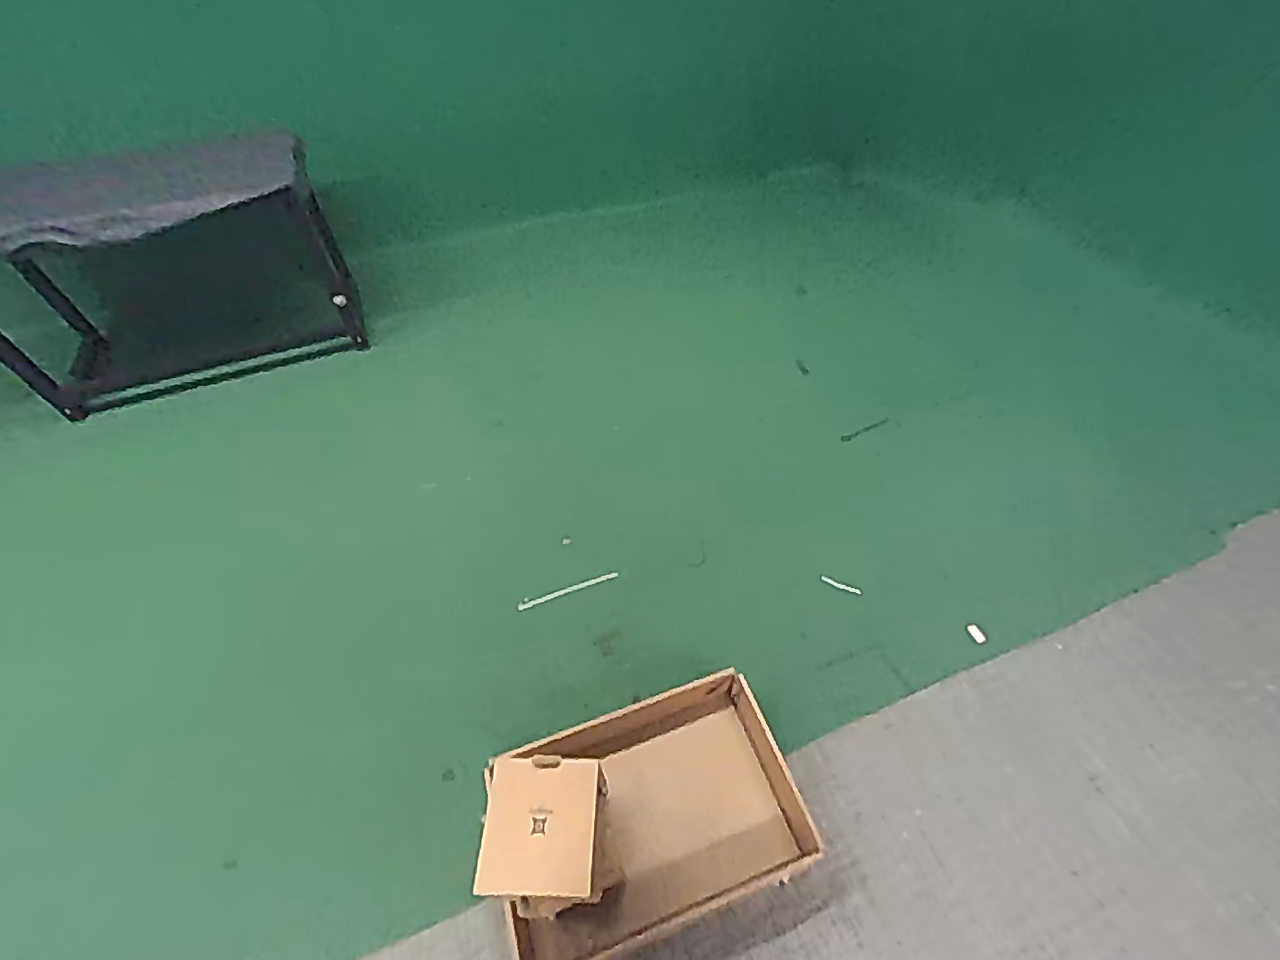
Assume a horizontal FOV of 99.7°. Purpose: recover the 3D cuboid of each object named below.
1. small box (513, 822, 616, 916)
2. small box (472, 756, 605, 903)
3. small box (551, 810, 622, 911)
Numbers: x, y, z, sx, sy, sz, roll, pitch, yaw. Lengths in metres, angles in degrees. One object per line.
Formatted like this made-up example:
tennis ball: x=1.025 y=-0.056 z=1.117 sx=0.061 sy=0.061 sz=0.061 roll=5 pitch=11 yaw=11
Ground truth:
small box: x=-0.147 y=0.653 z=0.980 sx=0.168 sy=0.176 sz=0.179 roll=-16 pitch=51 yaw=-13
small box: x=-0.145 y=0.552 z=0.852 sx=0.168 sy=0.176 sz=0.179 roll=1 pitch=49 yaw=2
small box: x=-0.142 y=0.749 z=1.113 sx=0.168 sy=0.176 sz=0.179 roll=-18 pitch=52 yaw=-13
